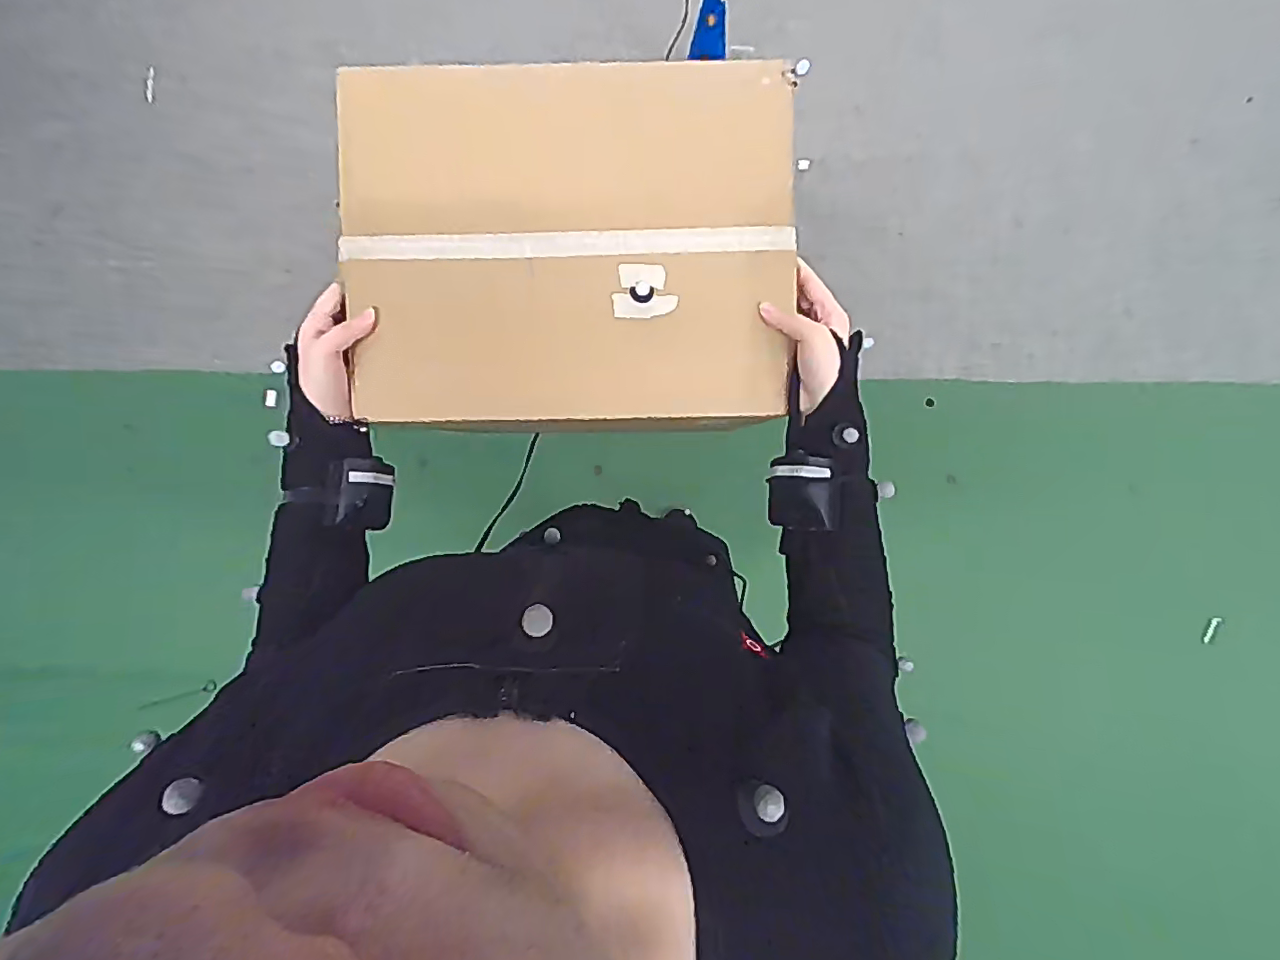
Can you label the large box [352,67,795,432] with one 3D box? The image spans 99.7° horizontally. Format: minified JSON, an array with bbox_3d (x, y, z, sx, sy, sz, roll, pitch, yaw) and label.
[{"bbox_3d":[-0.061,-0.223,0.642,0.408,0.320,0.320,-1,94,-1],"label":"large box"}]
